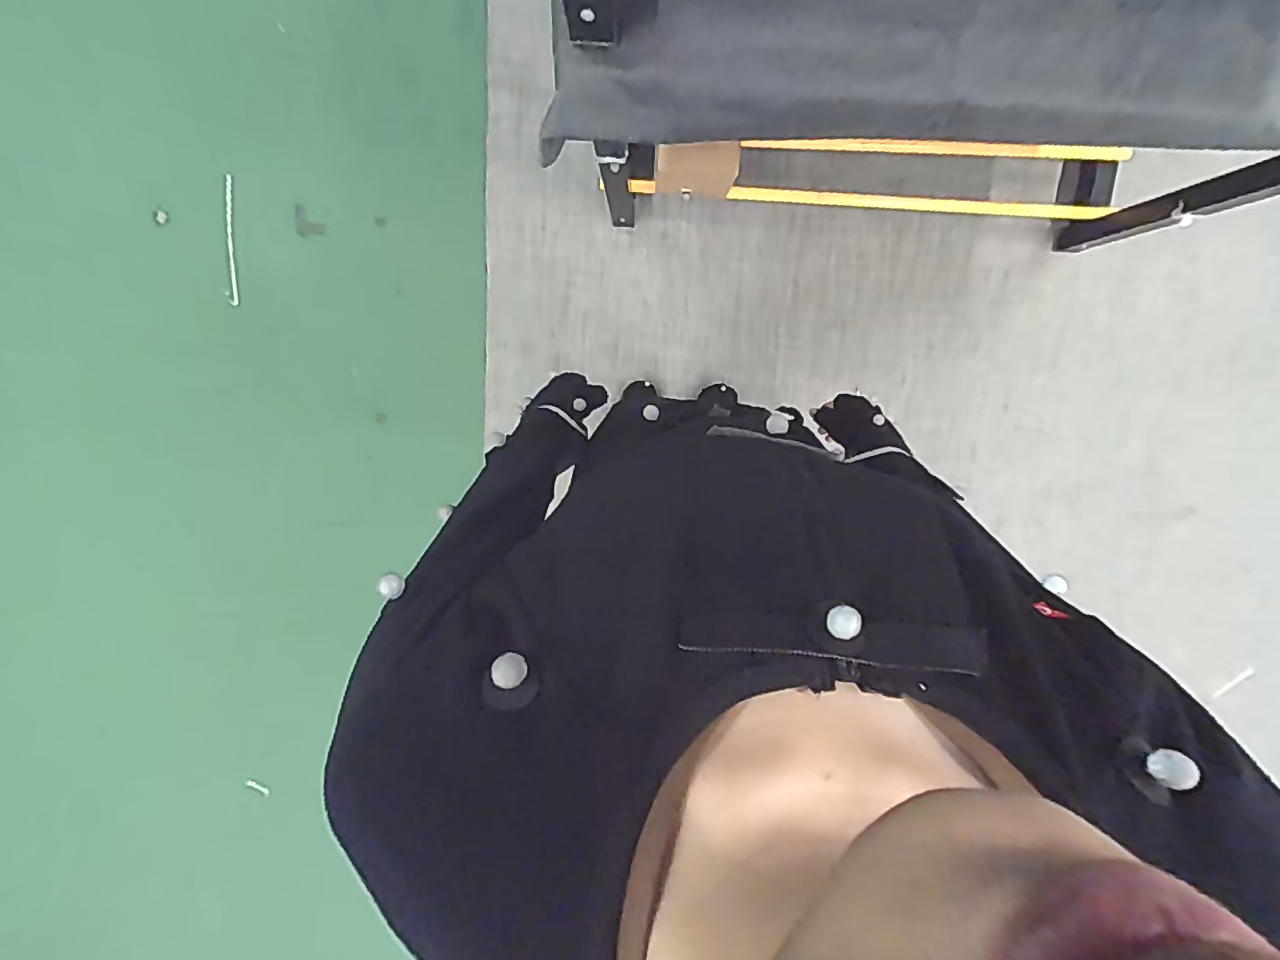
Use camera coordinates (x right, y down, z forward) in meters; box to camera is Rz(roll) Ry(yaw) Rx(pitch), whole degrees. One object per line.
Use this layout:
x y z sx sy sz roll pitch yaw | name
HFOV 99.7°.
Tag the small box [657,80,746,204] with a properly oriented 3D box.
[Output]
0.125 -0.715 1.160 0.168 0.176 0.179 2 102 0 | small box
